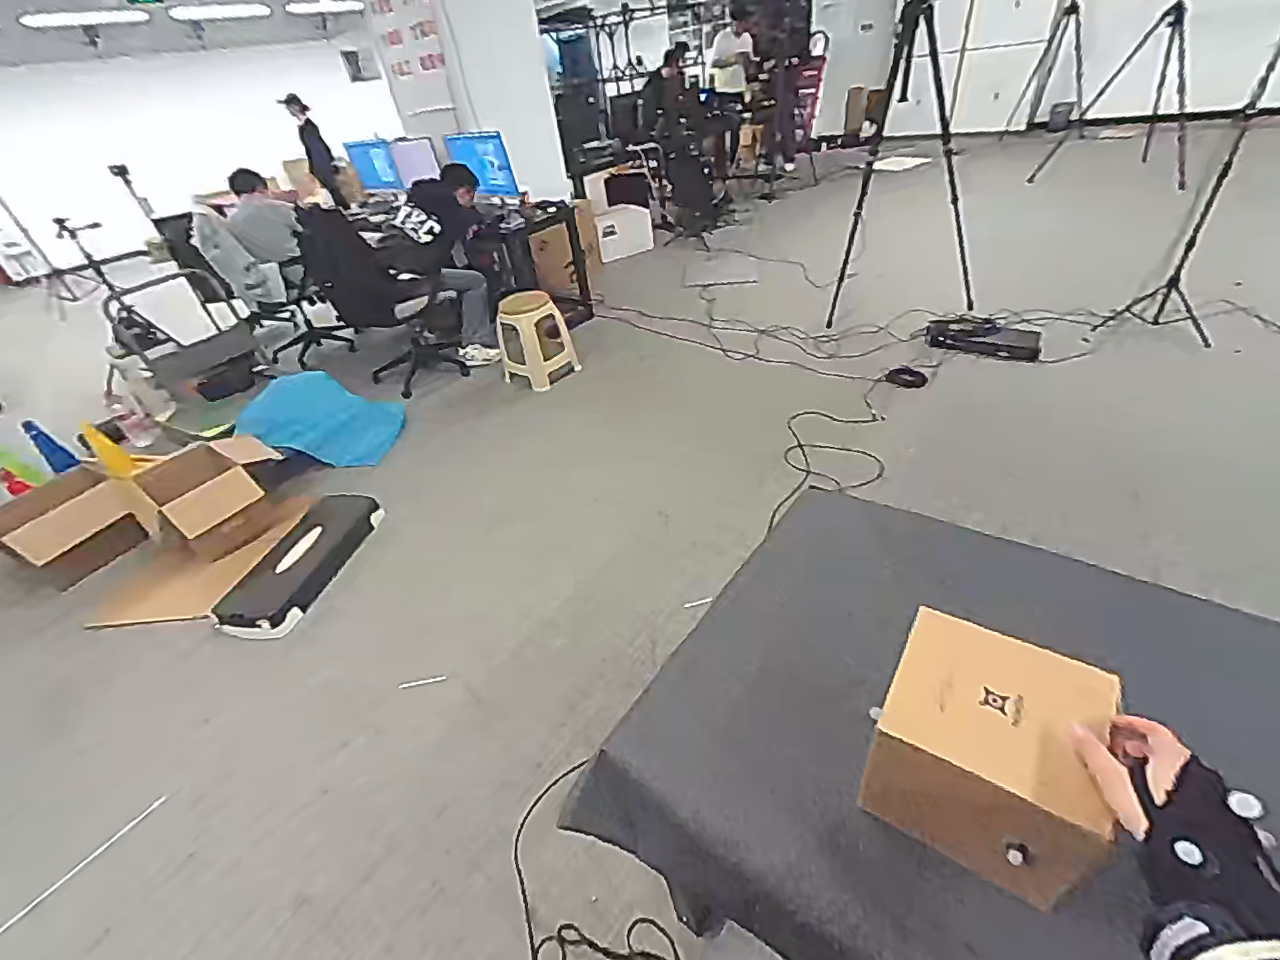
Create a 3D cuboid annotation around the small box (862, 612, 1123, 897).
[{"bbox_3d":[0.343,0.273,0.545,0.179,0.176,0.168,17,43,32],"label":"small box"}]
